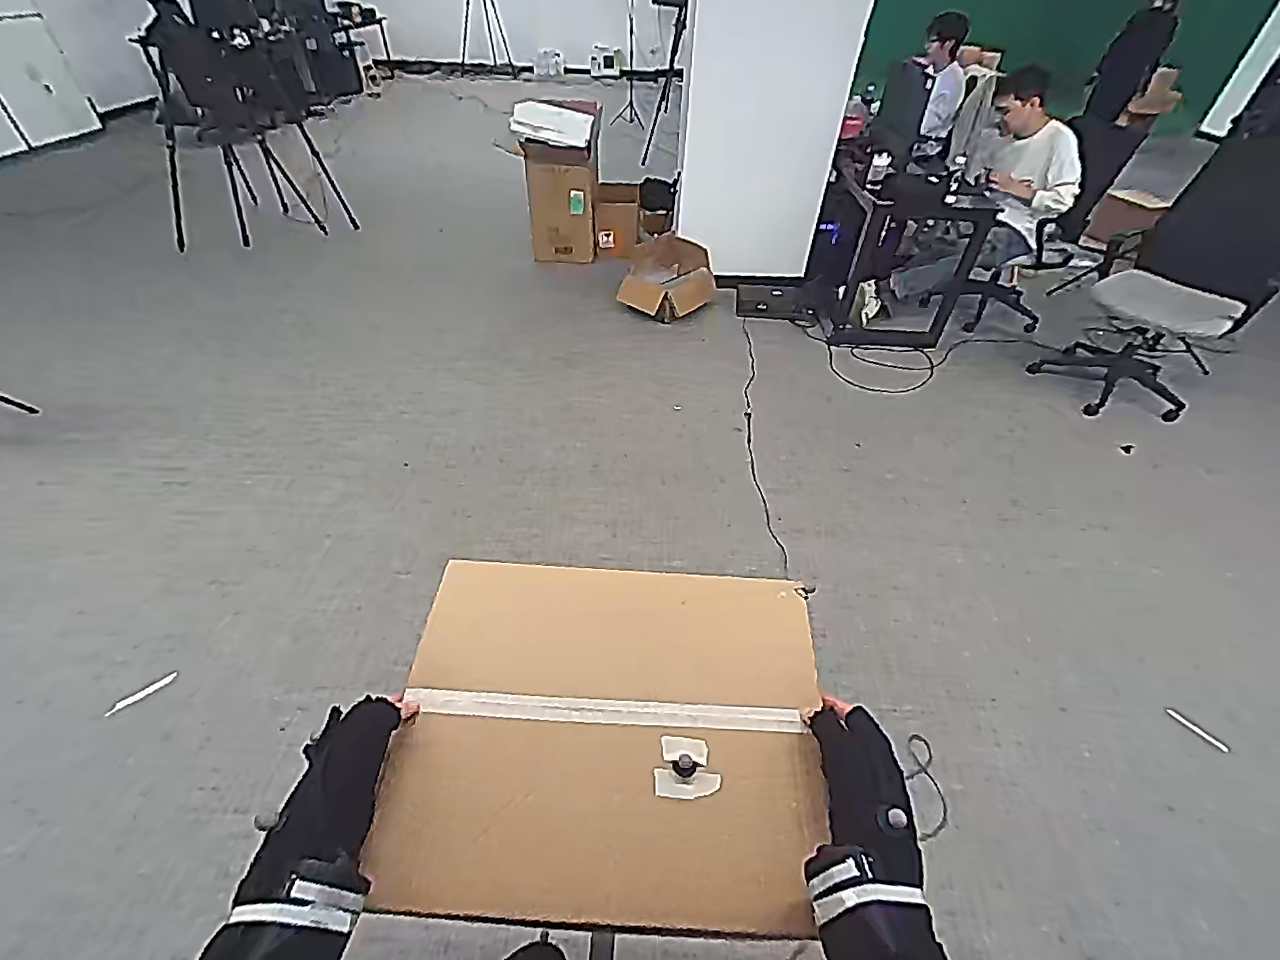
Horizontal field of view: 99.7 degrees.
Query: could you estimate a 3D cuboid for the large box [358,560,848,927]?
[{"bbox_3d":[-0.032,0.316,0.639,0.408,0.320,0.320,4,50,0],"label":"large box"}]
